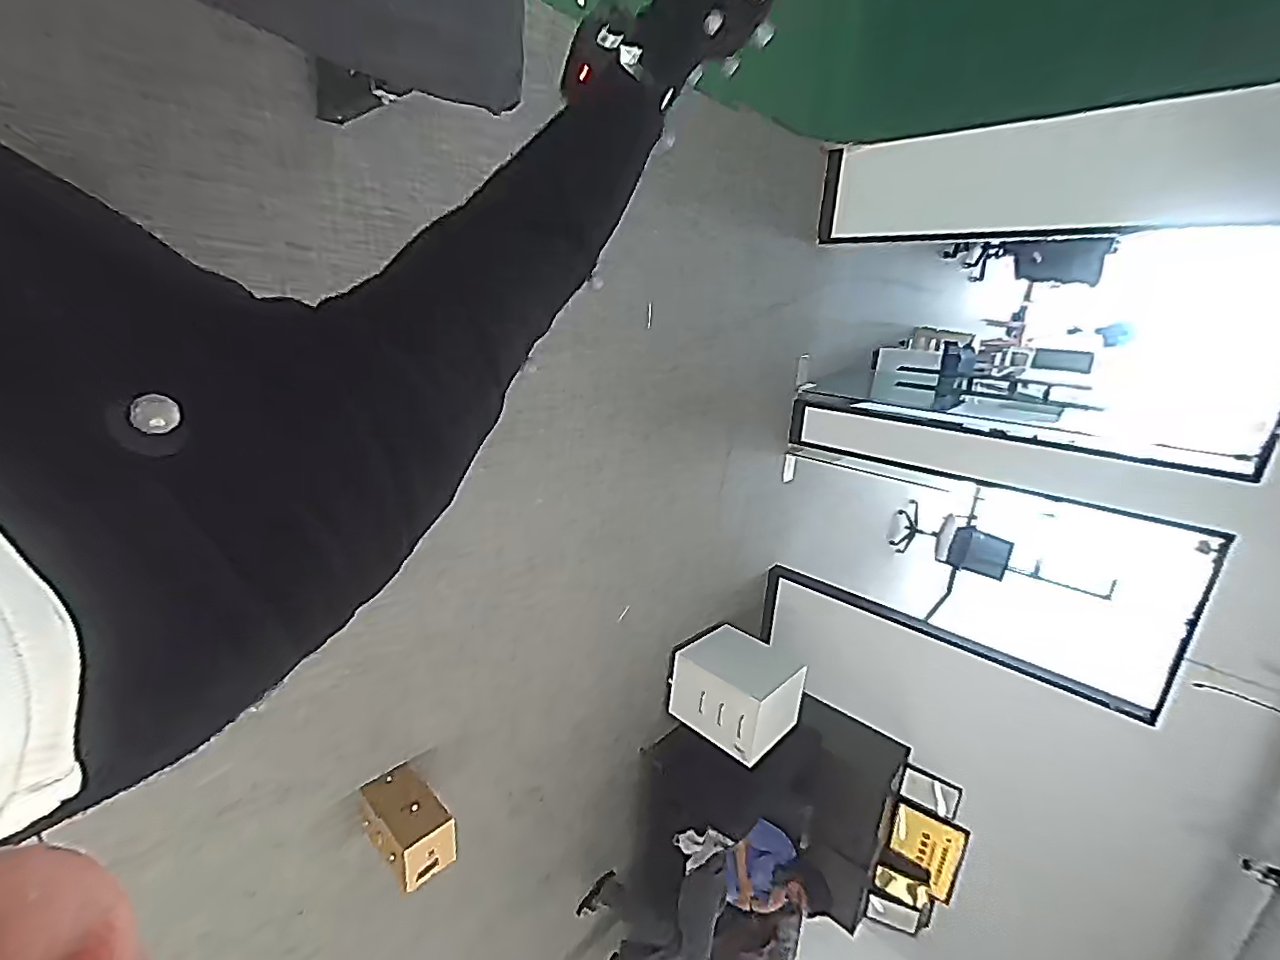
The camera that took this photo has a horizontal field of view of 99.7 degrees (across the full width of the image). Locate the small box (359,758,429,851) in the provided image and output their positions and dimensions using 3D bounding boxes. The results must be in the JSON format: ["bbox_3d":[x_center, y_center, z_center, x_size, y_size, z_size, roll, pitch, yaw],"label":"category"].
[{"bbox_3d":[-0.847,1.106,1.858,0.179,0.176,0.168,-14,115,-46],"label":"small box"}]

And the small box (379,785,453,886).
[{"bbox_3d":[-0.725,1.141,1.752,0.168,0.176,0.179,-16,116,-47],"label":"small box"}]
